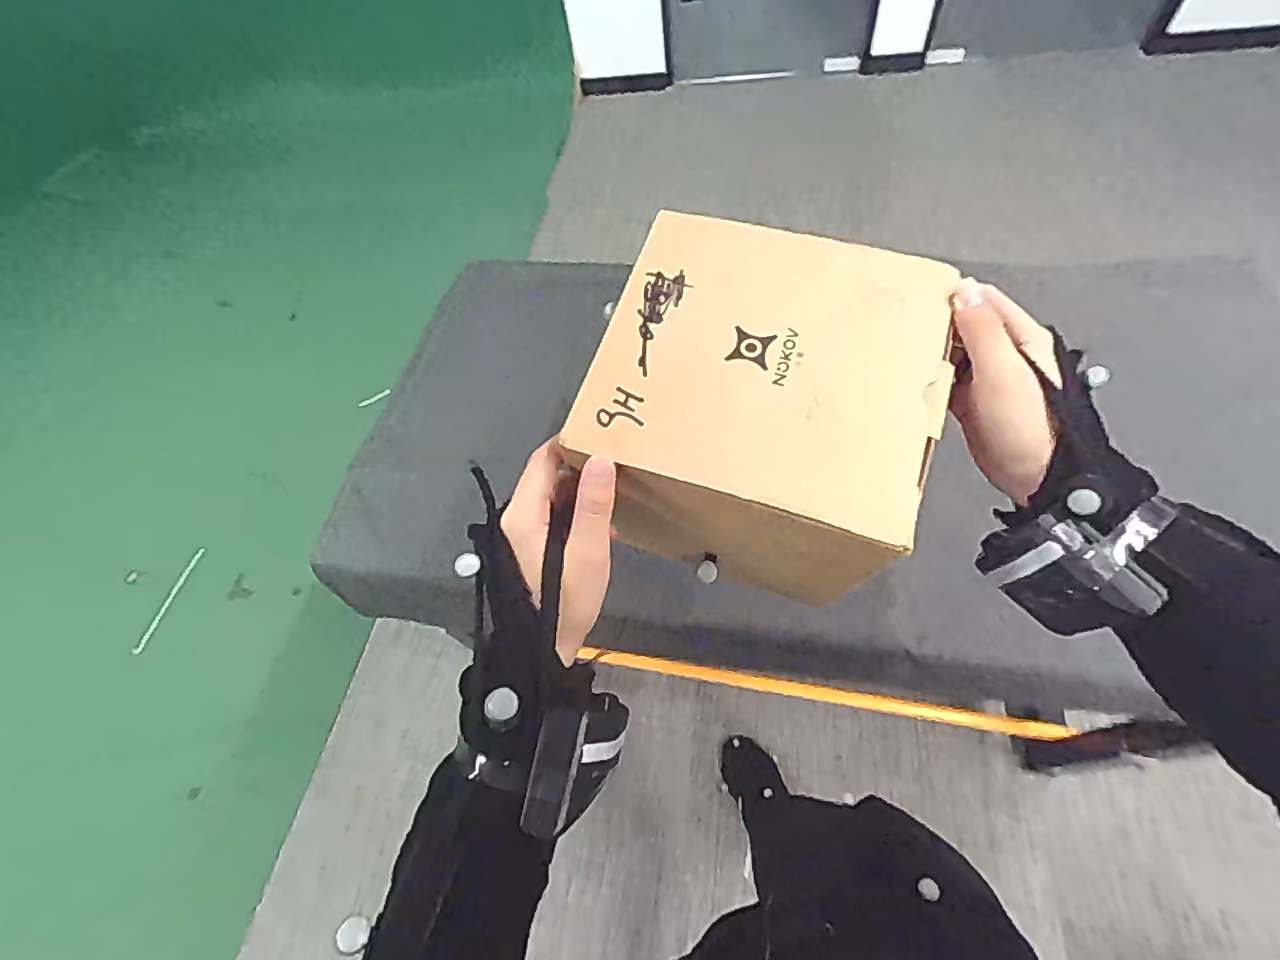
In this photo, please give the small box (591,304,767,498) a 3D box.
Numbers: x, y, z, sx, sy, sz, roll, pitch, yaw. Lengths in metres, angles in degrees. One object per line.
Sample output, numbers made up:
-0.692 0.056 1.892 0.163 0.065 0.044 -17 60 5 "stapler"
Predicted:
0.056 -0.091 0.659 0.179 0.176 0.168 5 57 12 "small box"
